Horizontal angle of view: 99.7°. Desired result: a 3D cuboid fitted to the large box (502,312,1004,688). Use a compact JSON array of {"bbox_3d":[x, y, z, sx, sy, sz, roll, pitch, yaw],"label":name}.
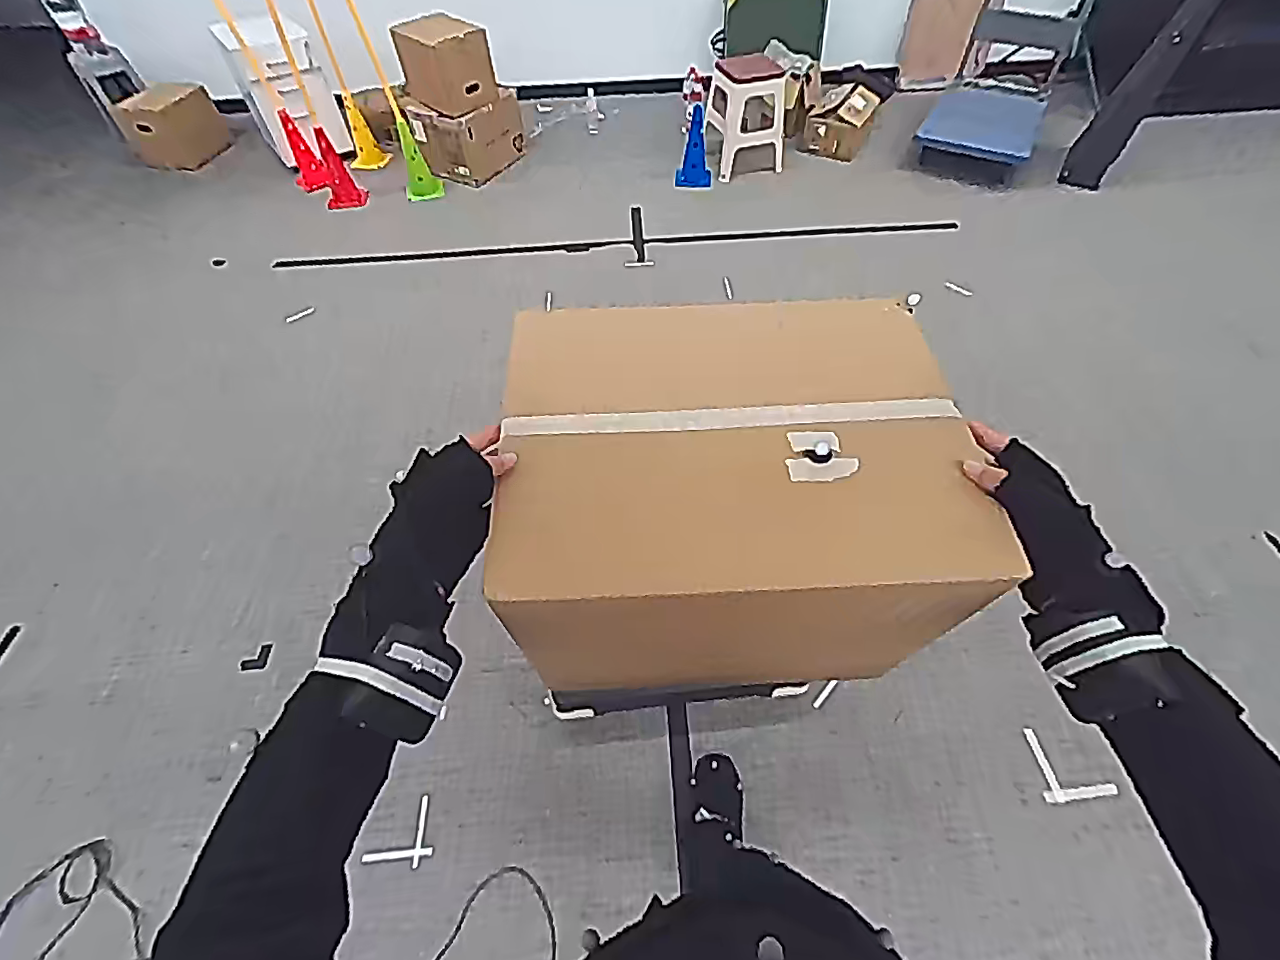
[{"bbox_3d":[0.081,0.036,0.623,0.408,0.320,0.320,-2,57,-1],"label":"large box"}]
